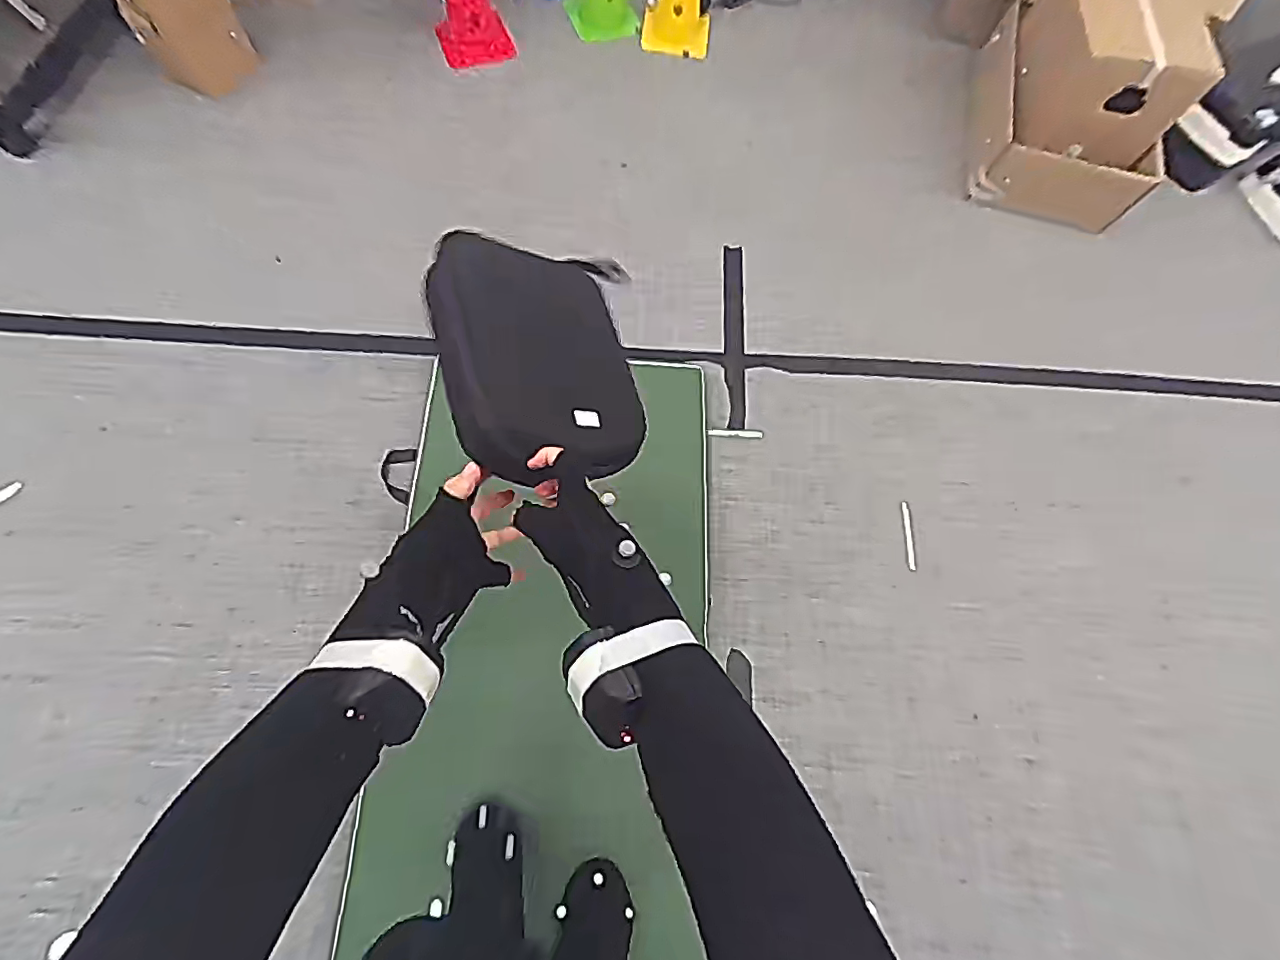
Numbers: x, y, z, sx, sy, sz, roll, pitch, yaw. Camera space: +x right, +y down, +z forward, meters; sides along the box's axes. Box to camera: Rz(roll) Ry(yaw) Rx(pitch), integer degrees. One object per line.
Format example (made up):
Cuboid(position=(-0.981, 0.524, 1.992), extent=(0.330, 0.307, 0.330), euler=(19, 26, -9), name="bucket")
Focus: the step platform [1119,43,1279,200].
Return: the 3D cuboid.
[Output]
Cuboid(position=(1.832, -1.100, 1.624), extent=(0.684, 0.204, 0.286), euler=(-25, 75, -12), name="step platform")
